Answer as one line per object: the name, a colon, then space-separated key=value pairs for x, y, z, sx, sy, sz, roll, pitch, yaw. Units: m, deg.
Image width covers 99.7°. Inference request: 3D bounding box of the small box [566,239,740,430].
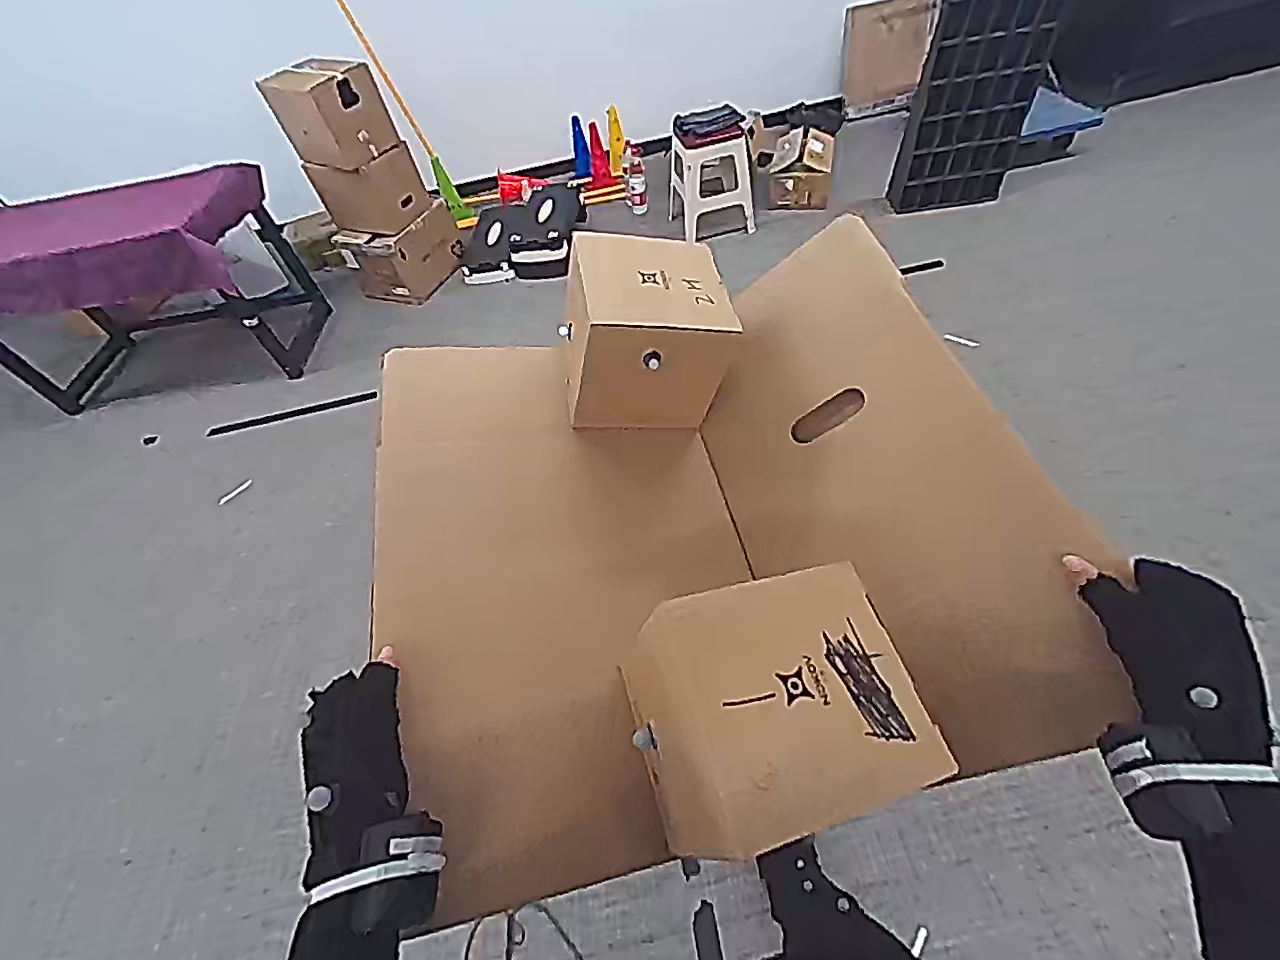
small box: x=0.001 y=-0.178 z=0.689 sx=0.179 sy=0.176 sz=0.168 roll=-1 pitch=56 yaw=-16
